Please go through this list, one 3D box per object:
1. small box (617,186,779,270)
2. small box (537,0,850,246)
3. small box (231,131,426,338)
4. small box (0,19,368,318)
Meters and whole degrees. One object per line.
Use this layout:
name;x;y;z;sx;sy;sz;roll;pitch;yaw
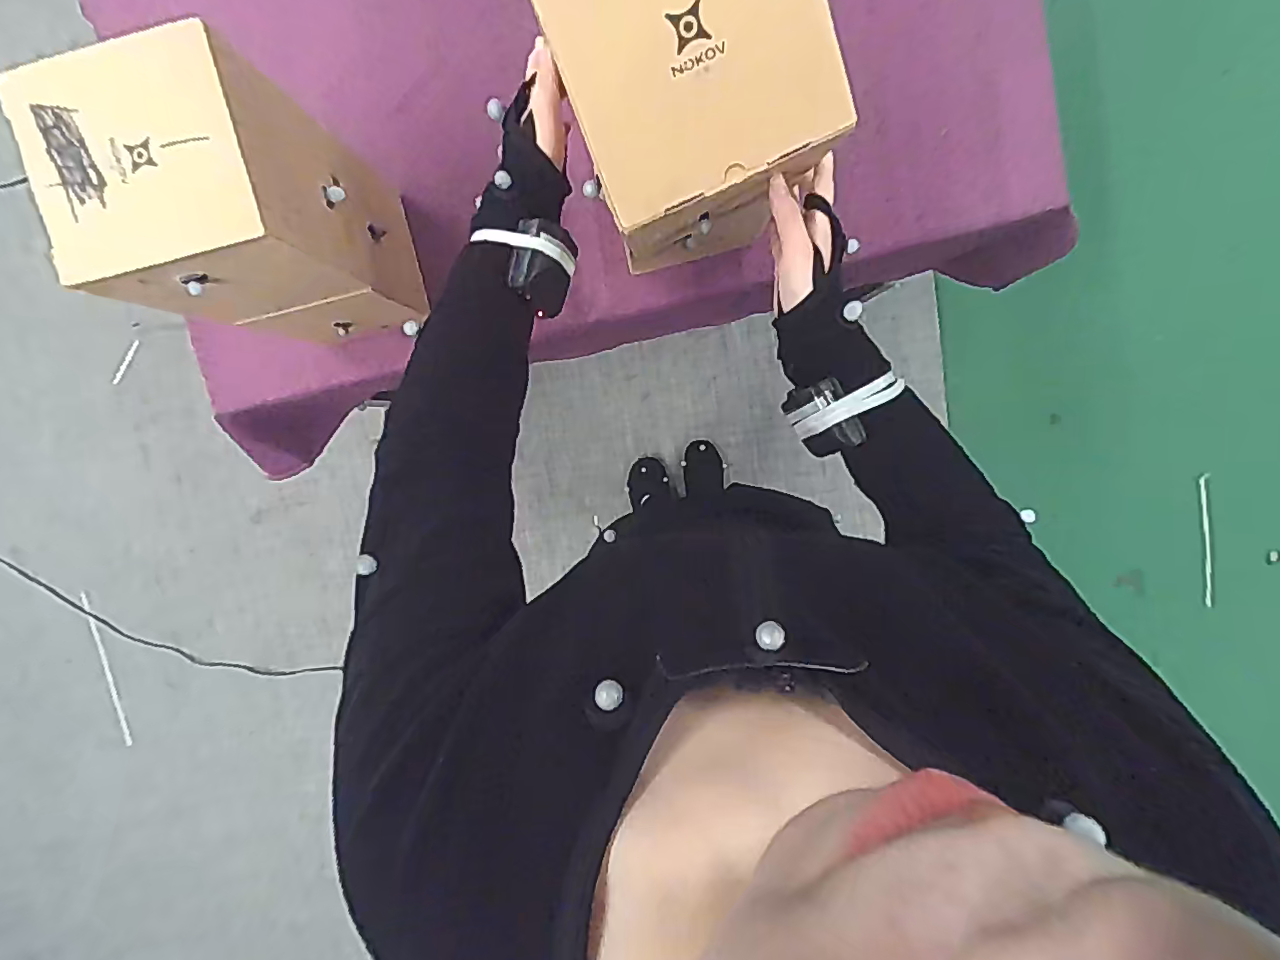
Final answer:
small box;0.050;-0.369;0.643;0.179;0.176;0.168;-13;96;4
small box;0.031;-0.302;0.412;0.168;0.176;0.179;-21;106;8
small box;-0.388;-0.281;0.666;0.168;0.176;0.179;-13;95;3
small box;-0.394;-0.262;0.502;0.179;0.176;0.168;-13;96;2
